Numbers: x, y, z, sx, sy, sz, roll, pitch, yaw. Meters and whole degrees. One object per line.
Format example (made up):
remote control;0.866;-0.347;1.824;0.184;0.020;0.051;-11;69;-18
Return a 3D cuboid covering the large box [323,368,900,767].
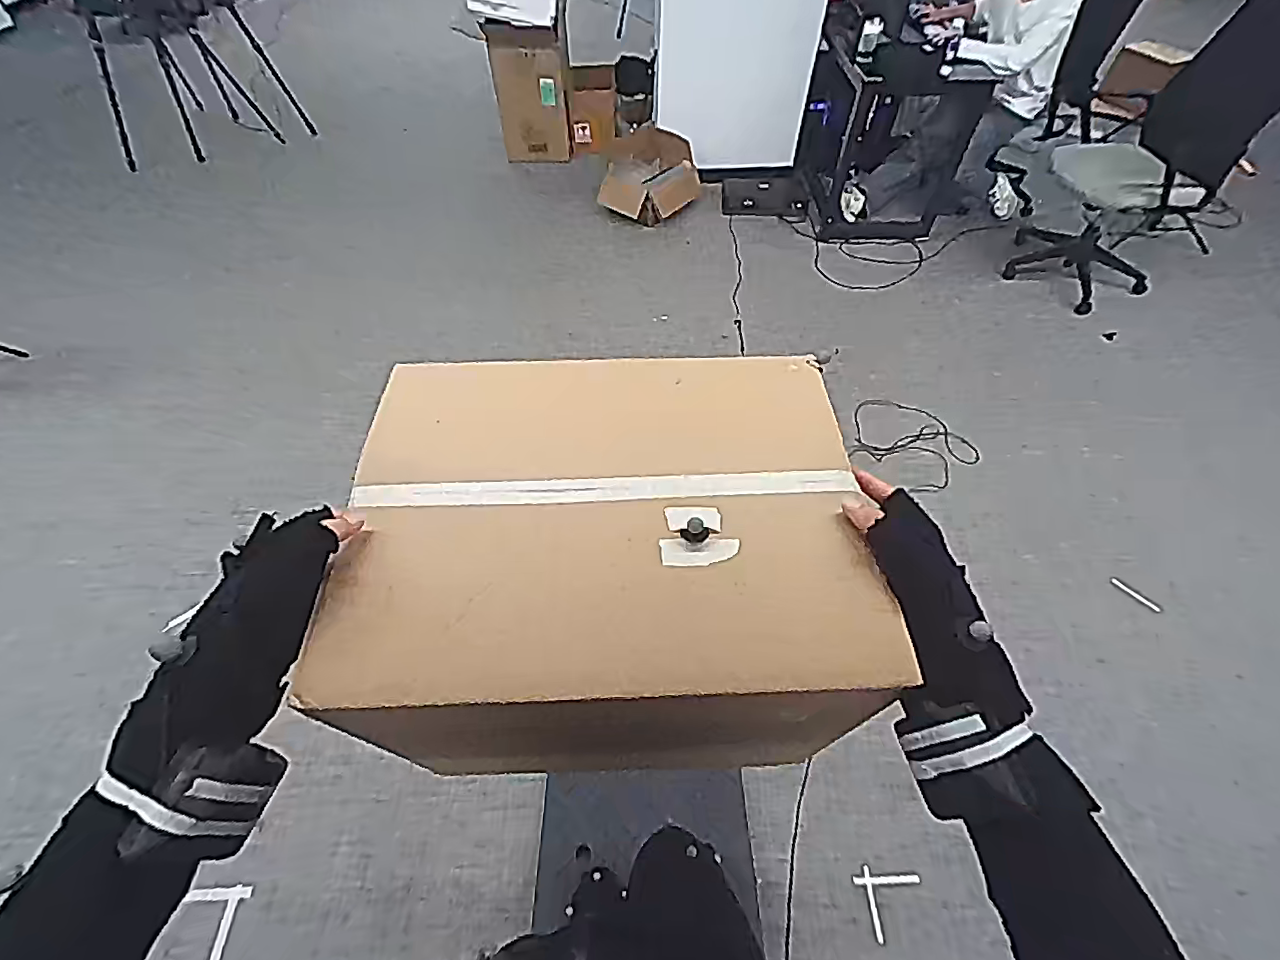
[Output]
large box;-0.025;0.101;0.573;0.408;0.320;0.320;-1;55;-2
